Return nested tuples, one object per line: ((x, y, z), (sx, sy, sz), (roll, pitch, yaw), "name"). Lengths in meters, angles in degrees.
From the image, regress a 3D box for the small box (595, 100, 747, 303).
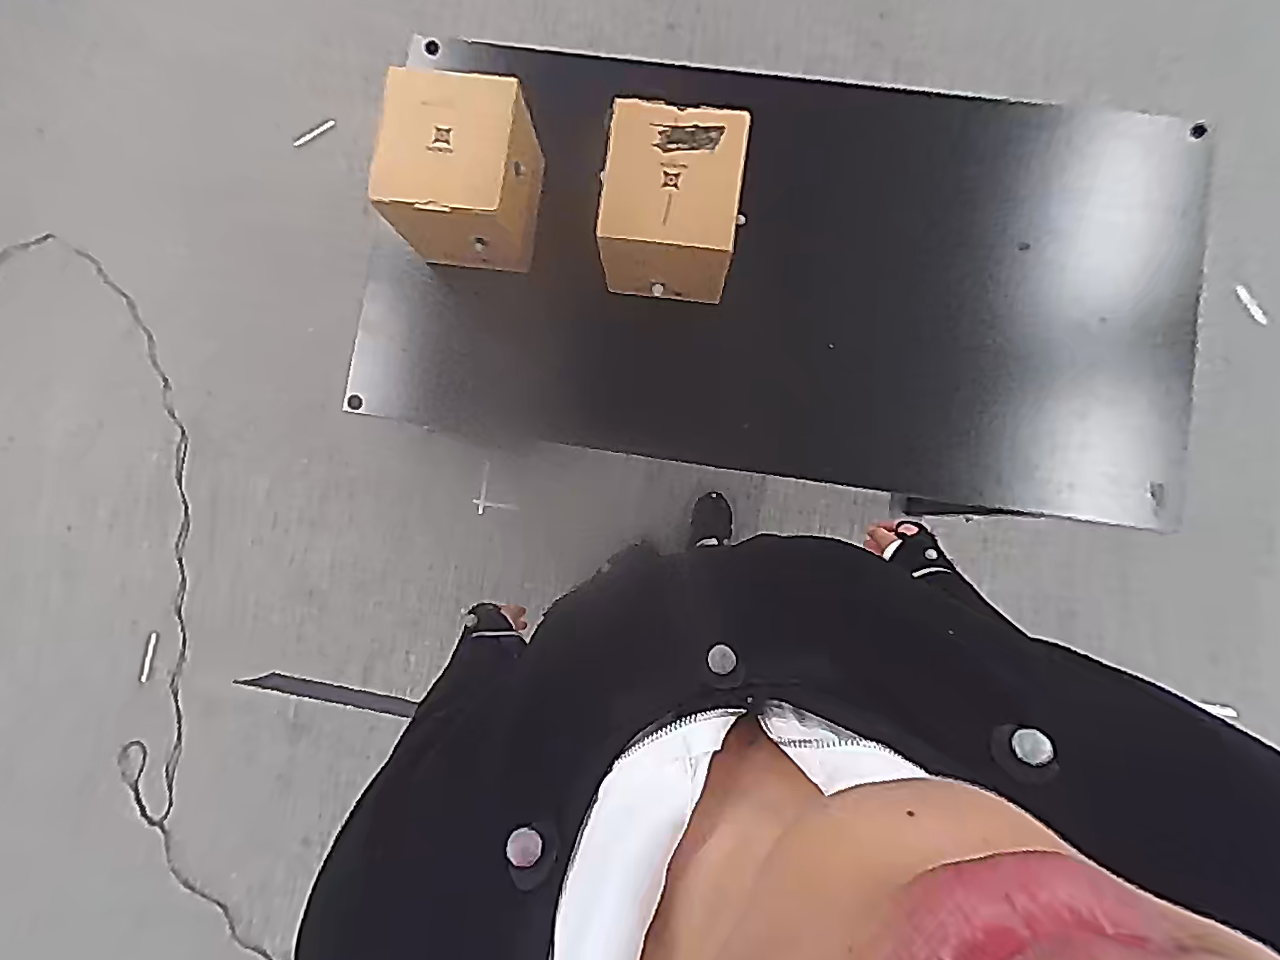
((0.040, -0.364, 0.732), (0.168, 0.176, 0.179), (8, 87, 3), "small box")

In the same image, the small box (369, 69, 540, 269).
((-0.242, -0.415, 0.748), (0.168, 0.176, 0.179), (7, 86, 1), "small box")
